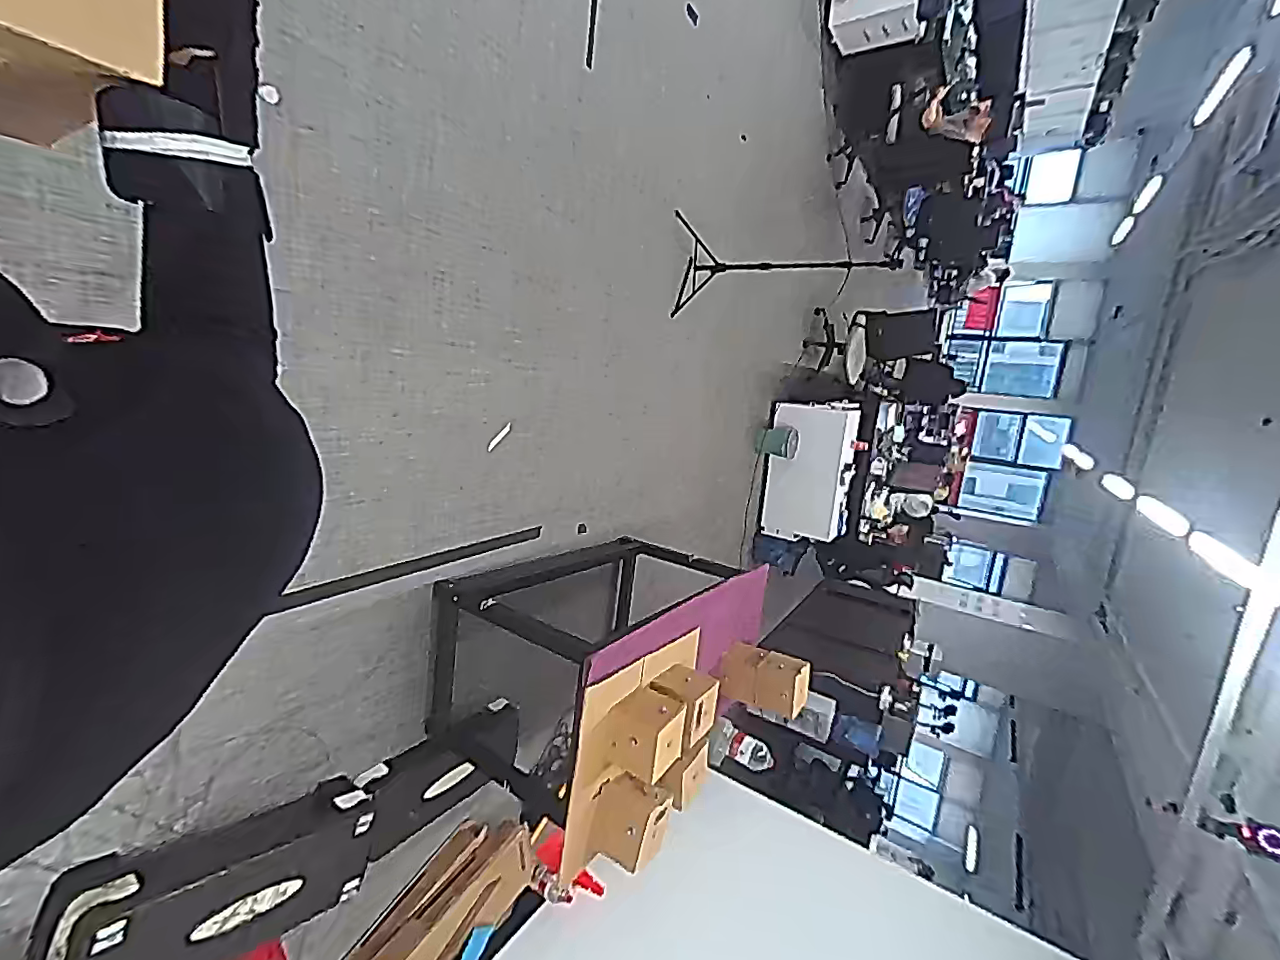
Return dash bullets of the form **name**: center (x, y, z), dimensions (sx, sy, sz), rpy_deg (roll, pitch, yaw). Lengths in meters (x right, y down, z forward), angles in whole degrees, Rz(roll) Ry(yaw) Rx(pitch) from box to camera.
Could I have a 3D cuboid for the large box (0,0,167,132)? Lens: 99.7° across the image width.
- **large box**: center (-0.516, -0.413, 0.228), dimensions (0.408, 0.320, 0.320), rpy_deg (-9, 111, -56)
